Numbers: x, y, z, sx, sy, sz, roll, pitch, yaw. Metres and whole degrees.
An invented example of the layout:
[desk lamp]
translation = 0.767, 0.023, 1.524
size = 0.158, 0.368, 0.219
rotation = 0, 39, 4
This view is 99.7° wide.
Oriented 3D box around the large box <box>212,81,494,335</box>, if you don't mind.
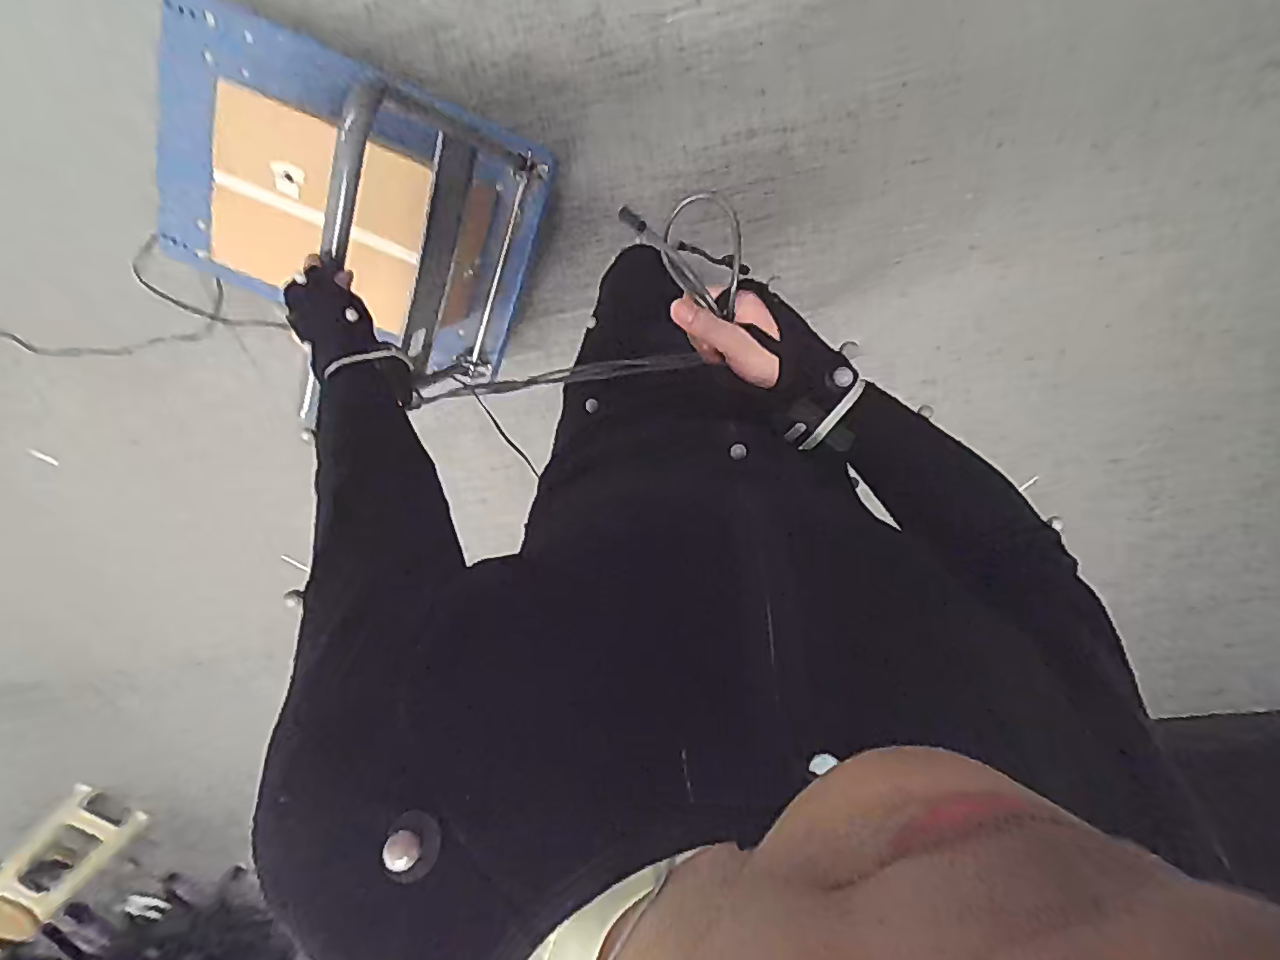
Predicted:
[large box]
translation = -0.571, -0.543, 1.129
size = 0.408, 0.320, 0.320
rotation = 22, 113, -5
